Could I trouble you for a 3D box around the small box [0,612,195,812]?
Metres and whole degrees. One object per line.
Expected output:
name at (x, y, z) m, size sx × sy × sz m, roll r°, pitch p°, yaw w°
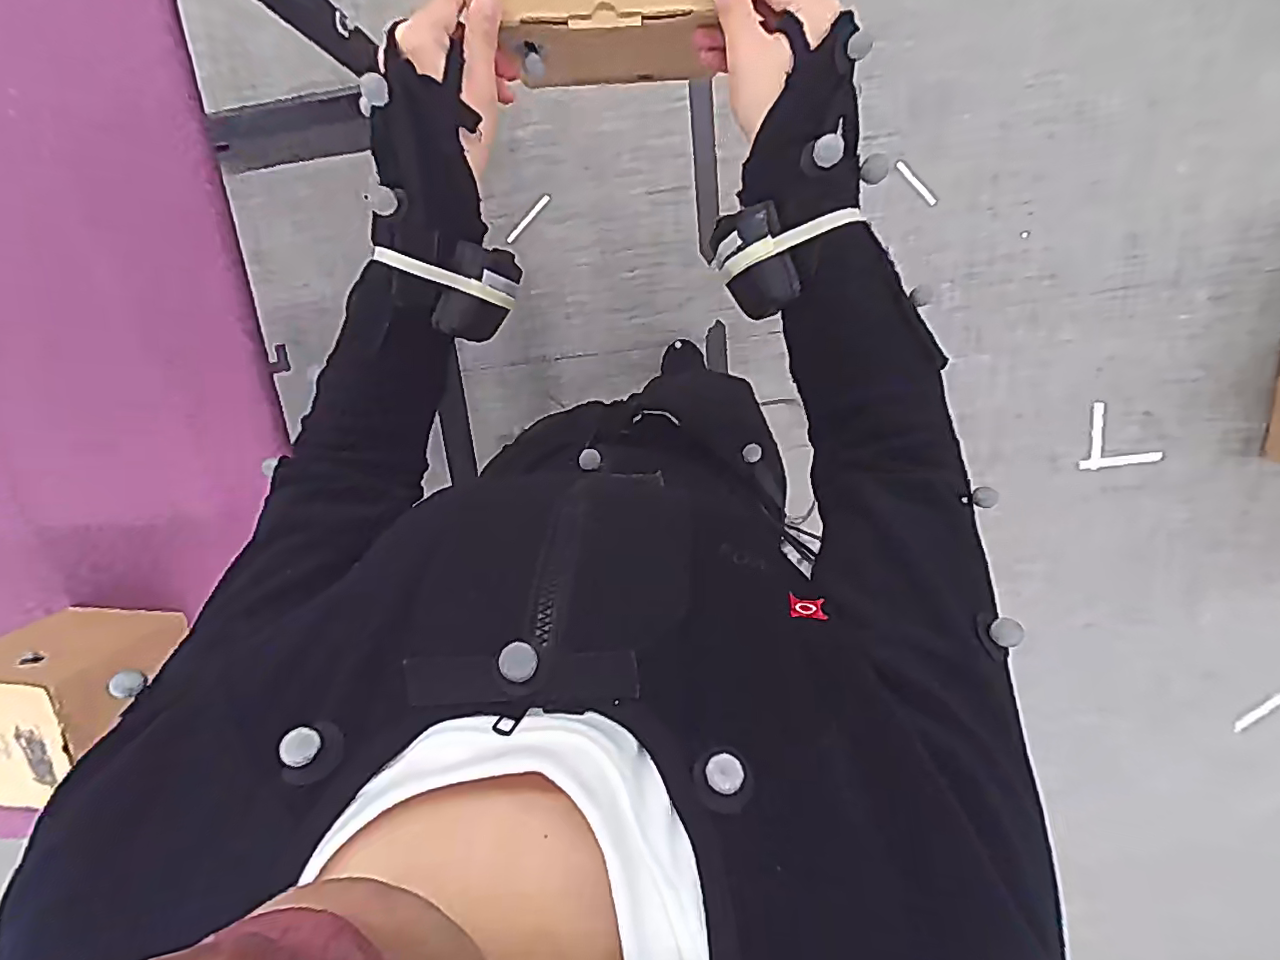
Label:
small box at (-0.709, 0.279, 0.681) m, size 0.179 × 0.176 × 0.168 m, roll 1°, pitch 103°, yaw 5°
